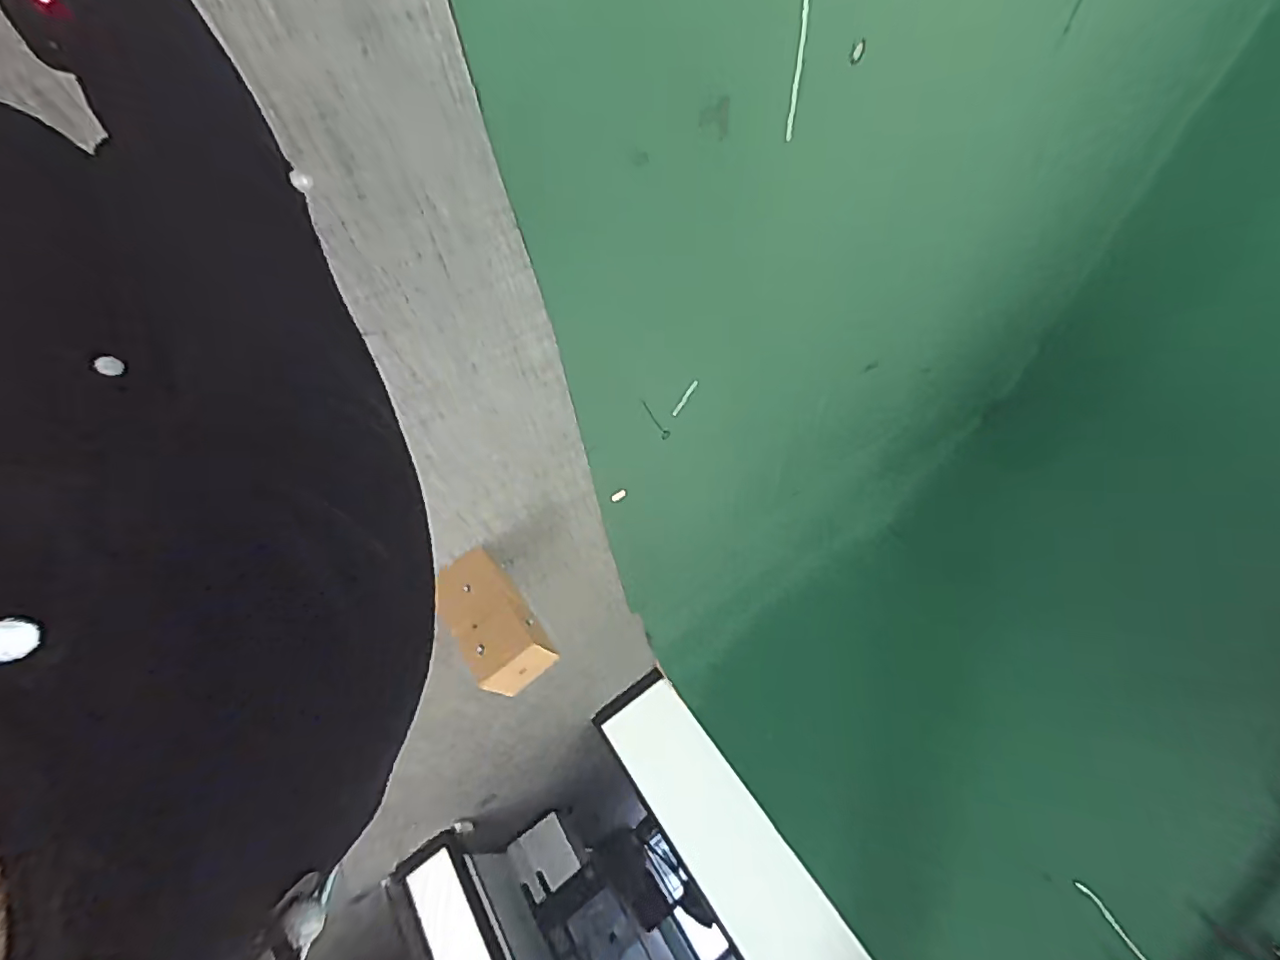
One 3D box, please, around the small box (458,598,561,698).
[{"bbox_3d":[-0.338,0.431,1.398,0.168,0.176,0.179,-38,149,-6],"label":"small box"}]
